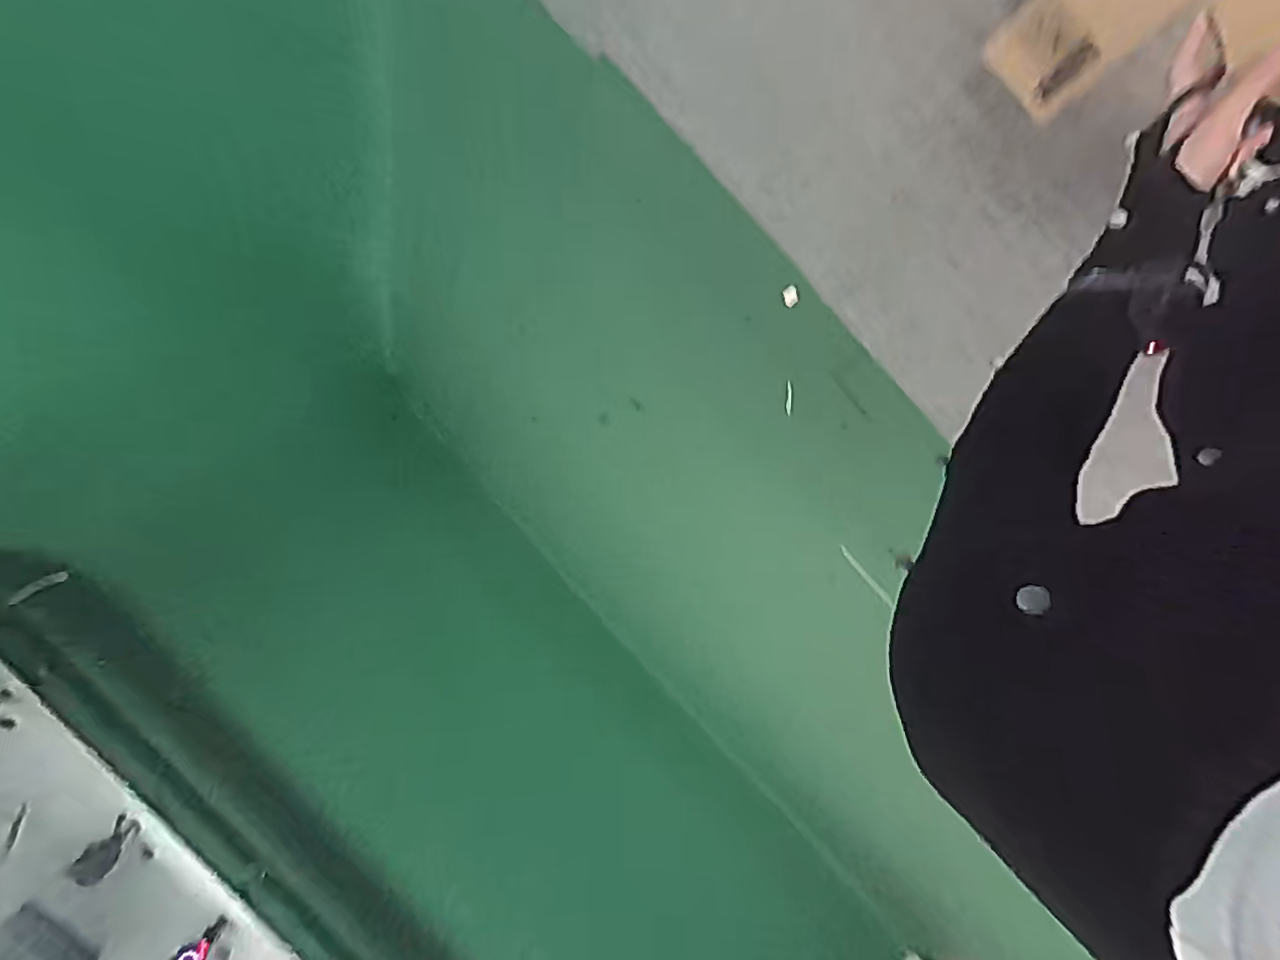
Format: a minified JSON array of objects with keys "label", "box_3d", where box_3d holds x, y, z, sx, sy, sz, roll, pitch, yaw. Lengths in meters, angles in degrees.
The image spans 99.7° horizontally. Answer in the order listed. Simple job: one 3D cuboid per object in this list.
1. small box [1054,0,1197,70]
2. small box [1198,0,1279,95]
[{"label":"small box","box_3d":[0.718,-0.732,0.757,0.168,0.176,0.179,49,147,-3]},{"label":"small box","box_3d":[0.560,-0.423,0.400,0.179,0.176,0.168,-20,86,62]}]
